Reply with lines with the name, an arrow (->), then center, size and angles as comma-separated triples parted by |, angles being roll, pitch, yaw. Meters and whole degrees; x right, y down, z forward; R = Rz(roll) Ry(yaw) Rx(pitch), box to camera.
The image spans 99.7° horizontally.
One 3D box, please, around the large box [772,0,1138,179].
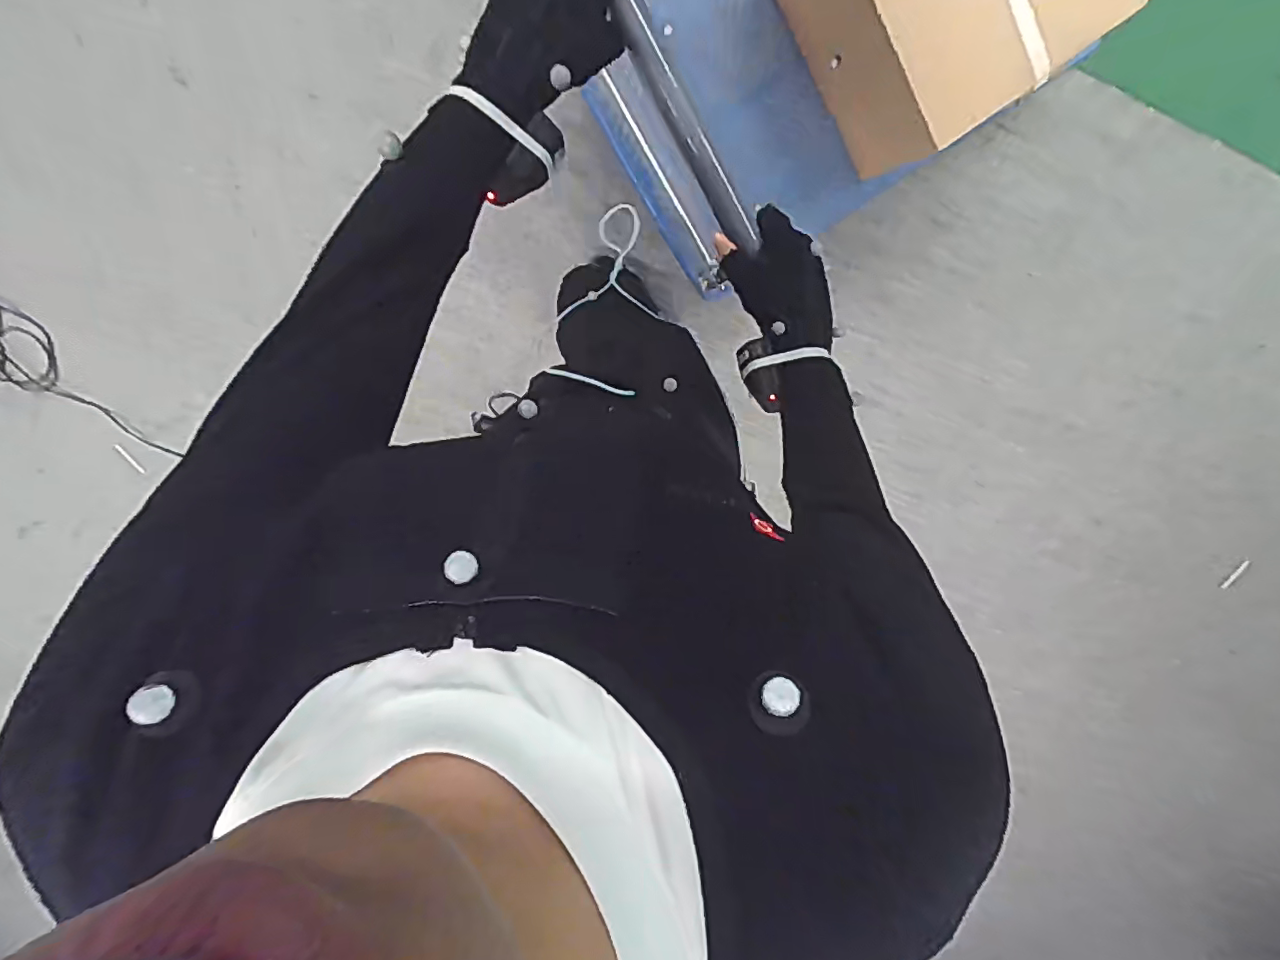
large box -> 0.459, -0.782, 0.868 | 0.320, 0.320, 0.408 | -34, 107, 12
